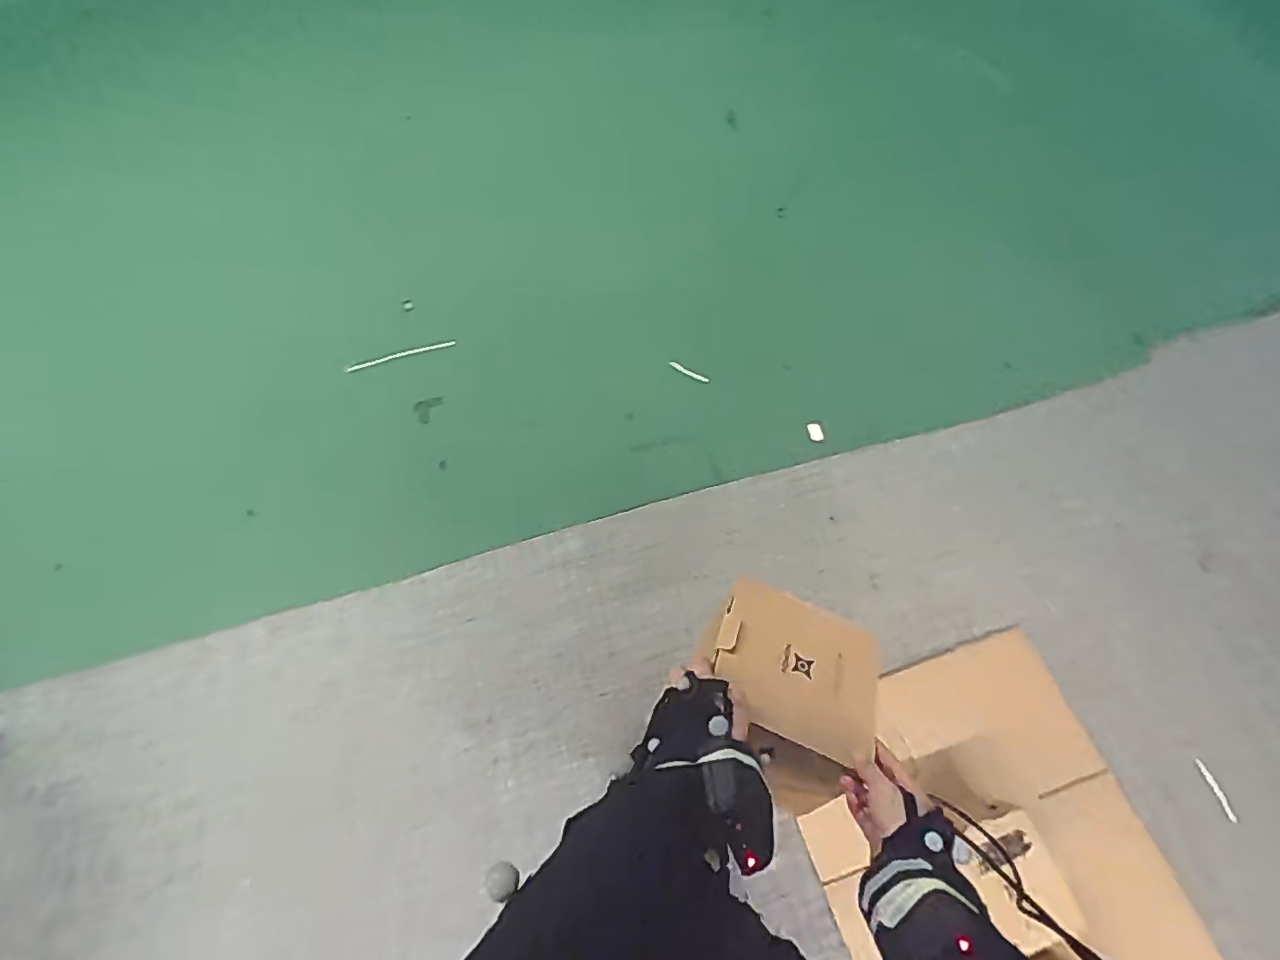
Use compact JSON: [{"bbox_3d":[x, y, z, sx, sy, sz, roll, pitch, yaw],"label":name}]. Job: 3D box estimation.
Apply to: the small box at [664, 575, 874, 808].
[{"bbox_3d":[0.144,0.247,0.624,0.179,0.176,0.168,24,46,4],"label":"small box"}]
